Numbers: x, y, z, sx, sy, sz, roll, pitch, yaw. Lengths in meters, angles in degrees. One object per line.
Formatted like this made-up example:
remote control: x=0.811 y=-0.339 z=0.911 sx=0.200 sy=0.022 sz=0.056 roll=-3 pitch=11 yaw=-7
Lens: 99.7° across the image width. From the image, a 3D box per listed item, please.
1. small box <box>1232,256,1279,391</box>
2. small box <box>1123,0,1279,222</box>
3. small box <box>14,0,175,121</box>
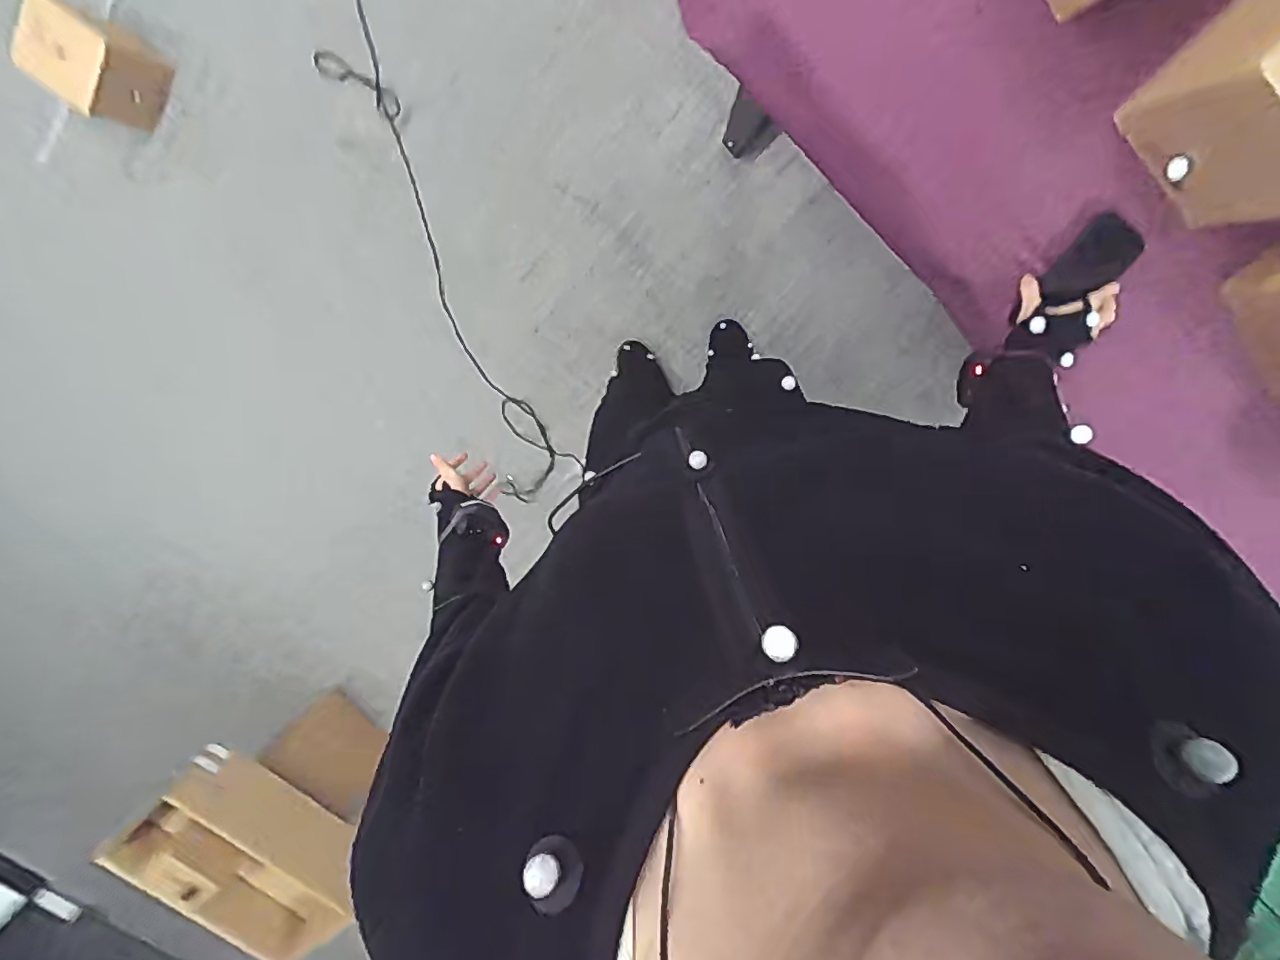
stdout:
small box: x=0.801 y=-0.185 z=0.564 sx=0.168 sy=0.176 sz=0.179 roll=-37 pitch=103 yaw=16
small box: x=0.632 y=-0.374 z=0.508 sx=0.168 sy=0.176 sz=0.179 roll=42 pitch=108 yaw=-10
small box: x=-1.211 y=-0.948 z=1.214 sx=0.179 sy=0.176 sz=0.168 roll=38 pitch=109 yaw=-9
